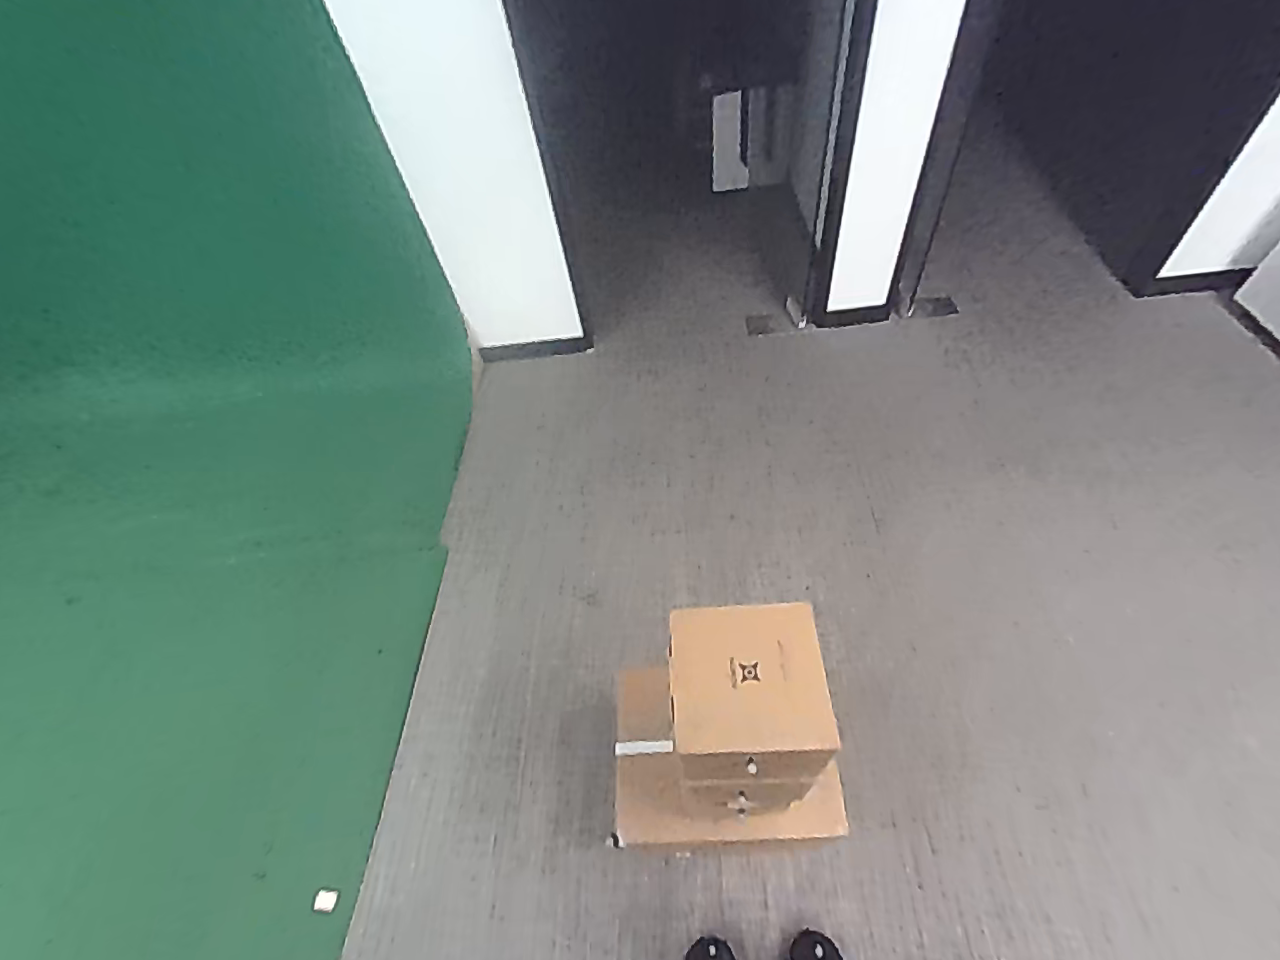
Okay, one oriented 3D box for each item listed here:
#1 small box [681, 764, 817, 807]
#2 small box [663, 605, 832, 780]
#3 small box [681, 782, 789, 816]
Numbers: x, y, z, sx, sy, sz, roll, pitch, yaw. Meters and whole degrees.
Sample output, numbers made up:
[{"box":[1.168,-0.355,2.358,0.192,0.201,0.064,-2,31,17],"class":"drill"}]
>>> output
[{"box":[0.144,0.377,0.803,0.179,0.176,0.168,-7,52,3],"class":"small box"},{"box":[0.125,0.272,0.681,0.179,0.176,0.168,-4,53,4],"class":"small box"},{"box":[0.155,0.473,0.936,0.168,0.176,0.179,-7,52,4],"class":"small box"}]
